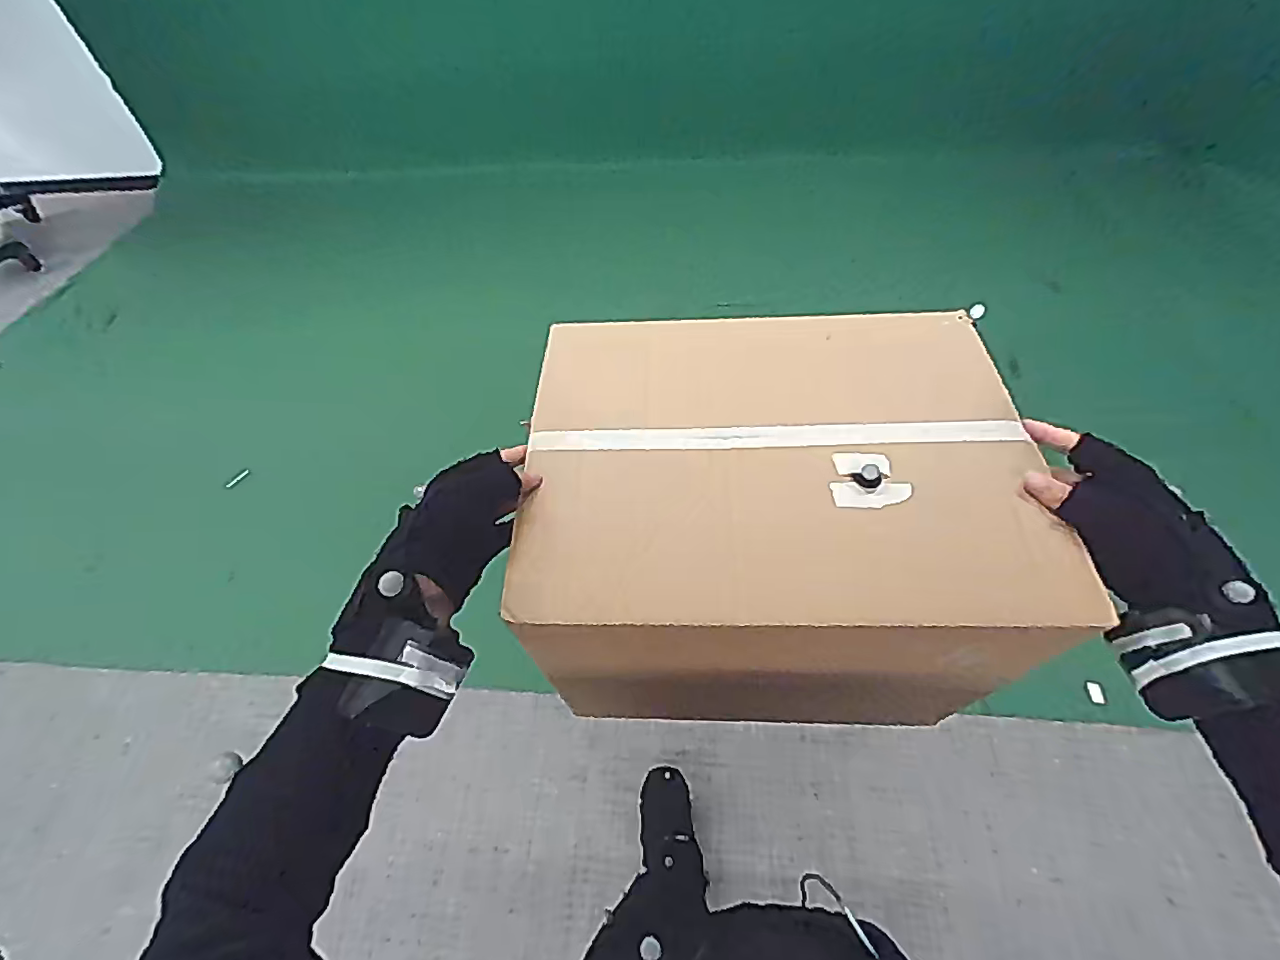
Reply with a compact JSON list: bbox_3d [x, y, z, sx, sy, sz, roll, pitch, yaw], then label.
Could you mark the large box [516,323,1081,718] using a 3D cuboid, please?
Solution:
[{"bbox_3d":[0.115,0.060,0.585,0.408,0.320,0.320,-1,55,4],"label":"large box"}]
